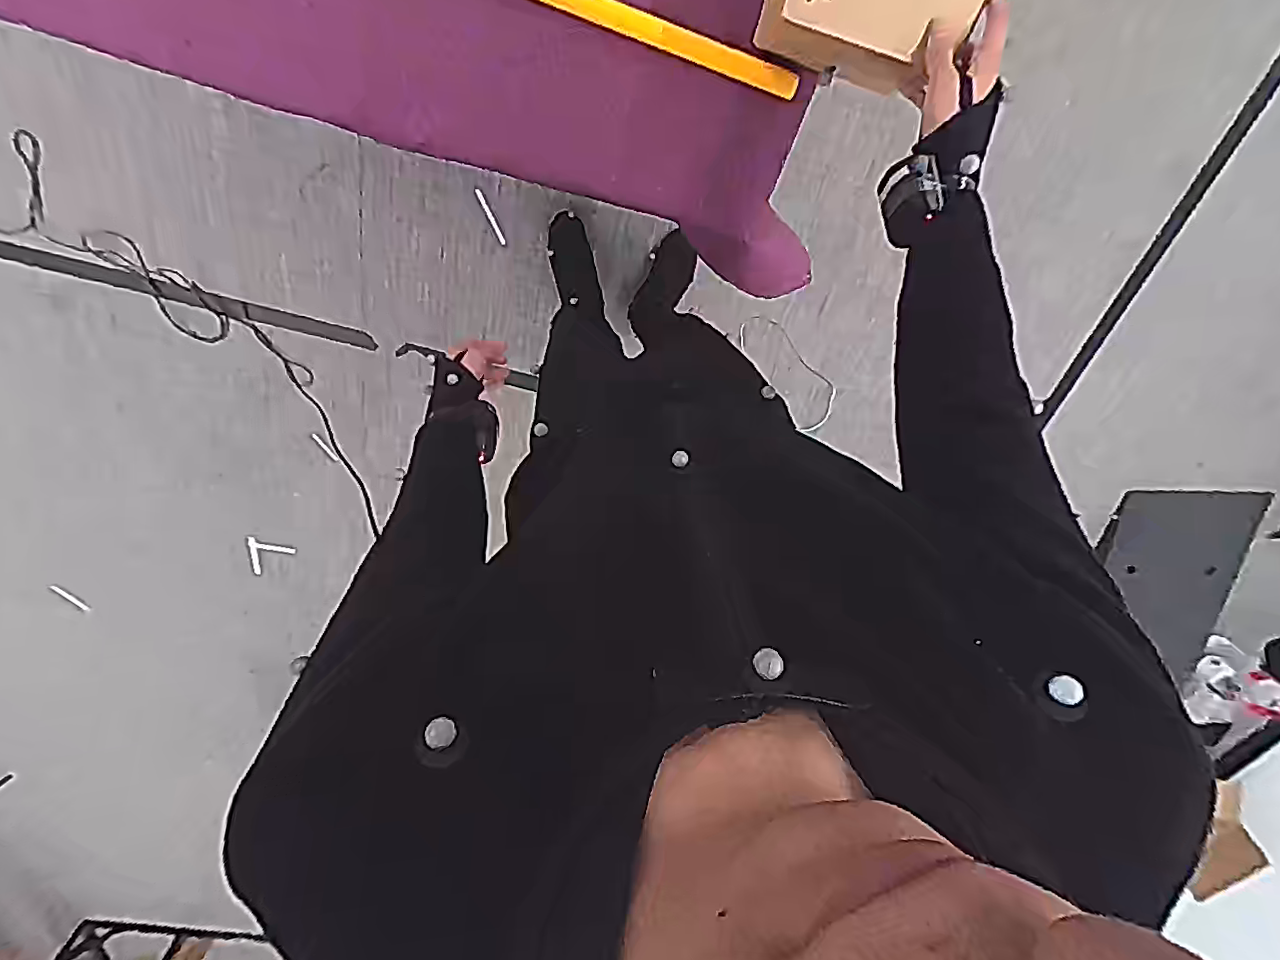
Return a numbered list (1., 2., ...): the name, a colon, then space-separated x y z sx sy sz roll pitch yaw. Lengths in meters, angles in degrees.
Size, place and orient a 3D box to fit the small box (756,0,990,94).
1. small box: 0.233 -0.501 0.527 0.179 0.176 0.168 14 120 -8
